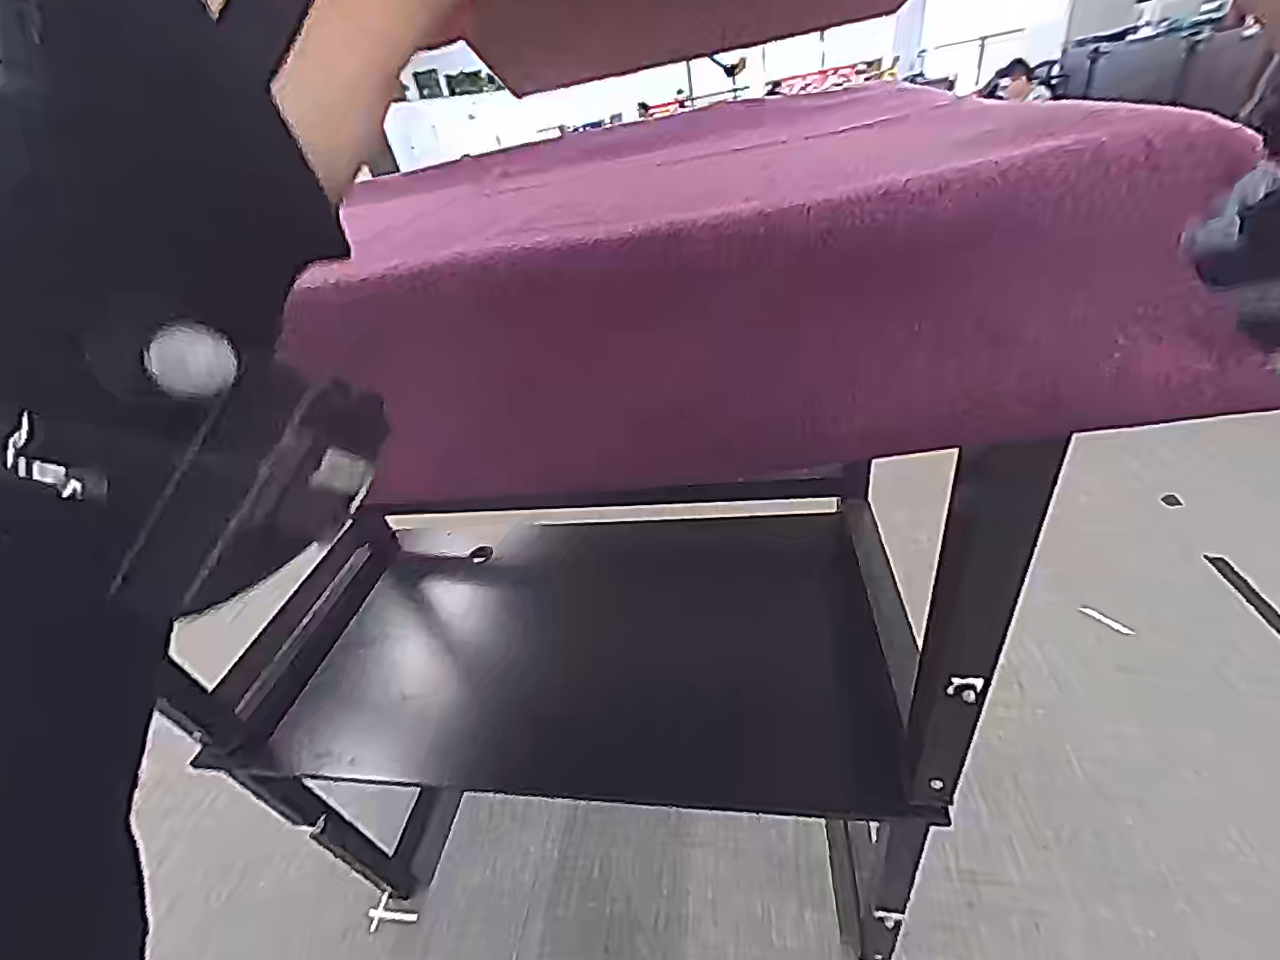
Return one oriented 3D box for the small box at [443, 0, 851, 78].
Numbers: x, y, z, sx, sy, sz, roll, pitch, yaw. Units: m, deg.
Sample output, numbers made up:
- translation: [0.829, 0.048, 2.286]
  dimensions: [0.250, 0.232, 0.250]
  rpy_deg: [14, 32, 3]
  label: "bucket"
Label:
- translation: [0.007, -0.238, 0.134]
  dimensions: [0.179, 0.168, 0.176]
  rpy_deg: [-8, 18, 7]
  label: "small box"
